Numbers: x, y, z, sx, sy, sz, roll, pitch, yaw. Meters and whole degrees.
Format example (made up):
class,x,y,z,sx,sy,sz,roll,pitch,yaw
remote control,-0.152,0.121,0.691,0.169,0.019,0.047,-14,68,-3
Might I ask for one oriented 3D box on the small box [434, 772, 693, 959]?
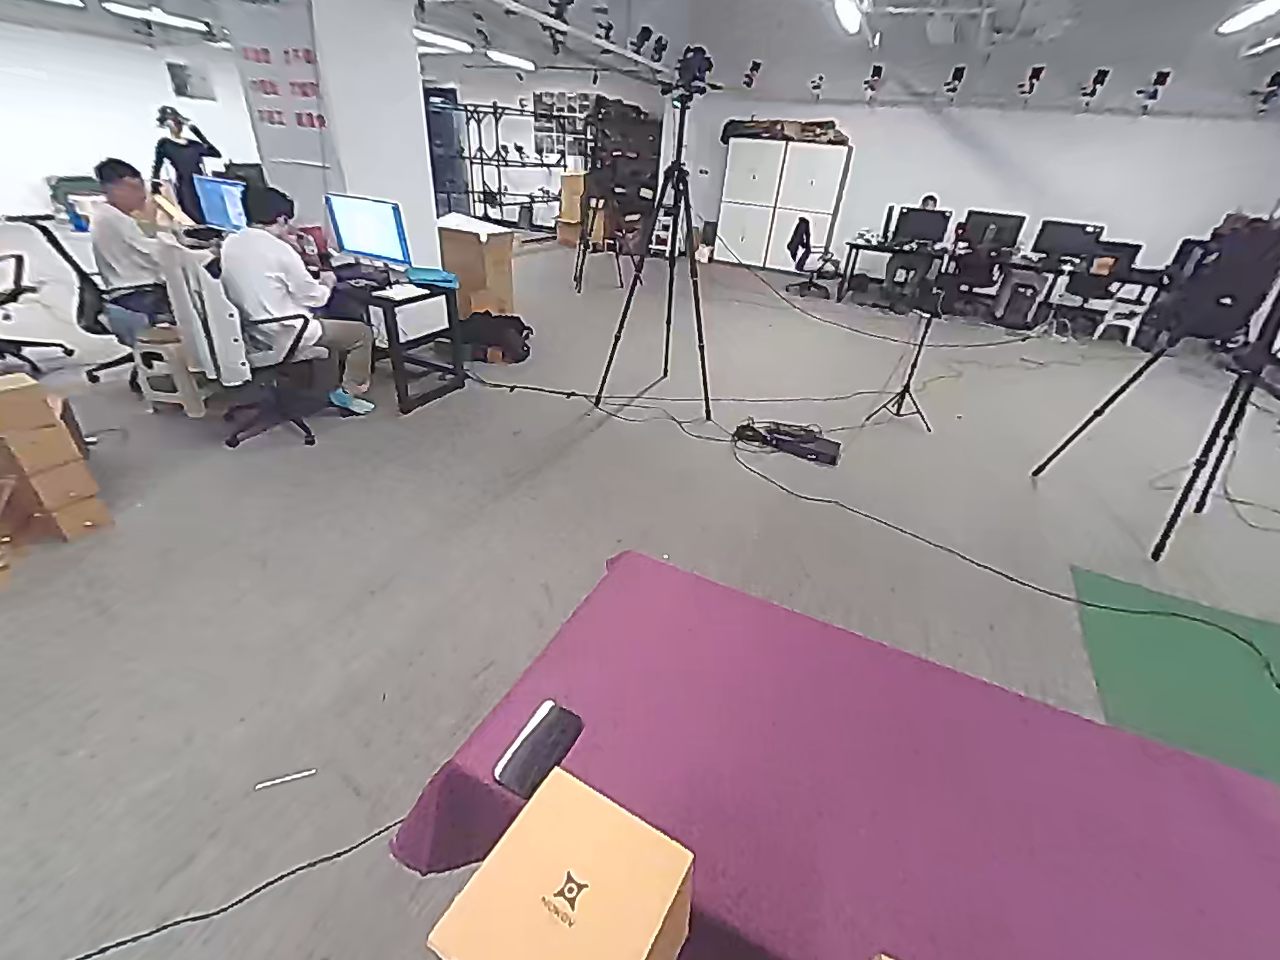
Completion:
class,x,y,z,sx,sy,sz,roll,pitch,yaw
small box,-0.062,0.439,0.522,0.168,0.176,0.179,17,37,26
